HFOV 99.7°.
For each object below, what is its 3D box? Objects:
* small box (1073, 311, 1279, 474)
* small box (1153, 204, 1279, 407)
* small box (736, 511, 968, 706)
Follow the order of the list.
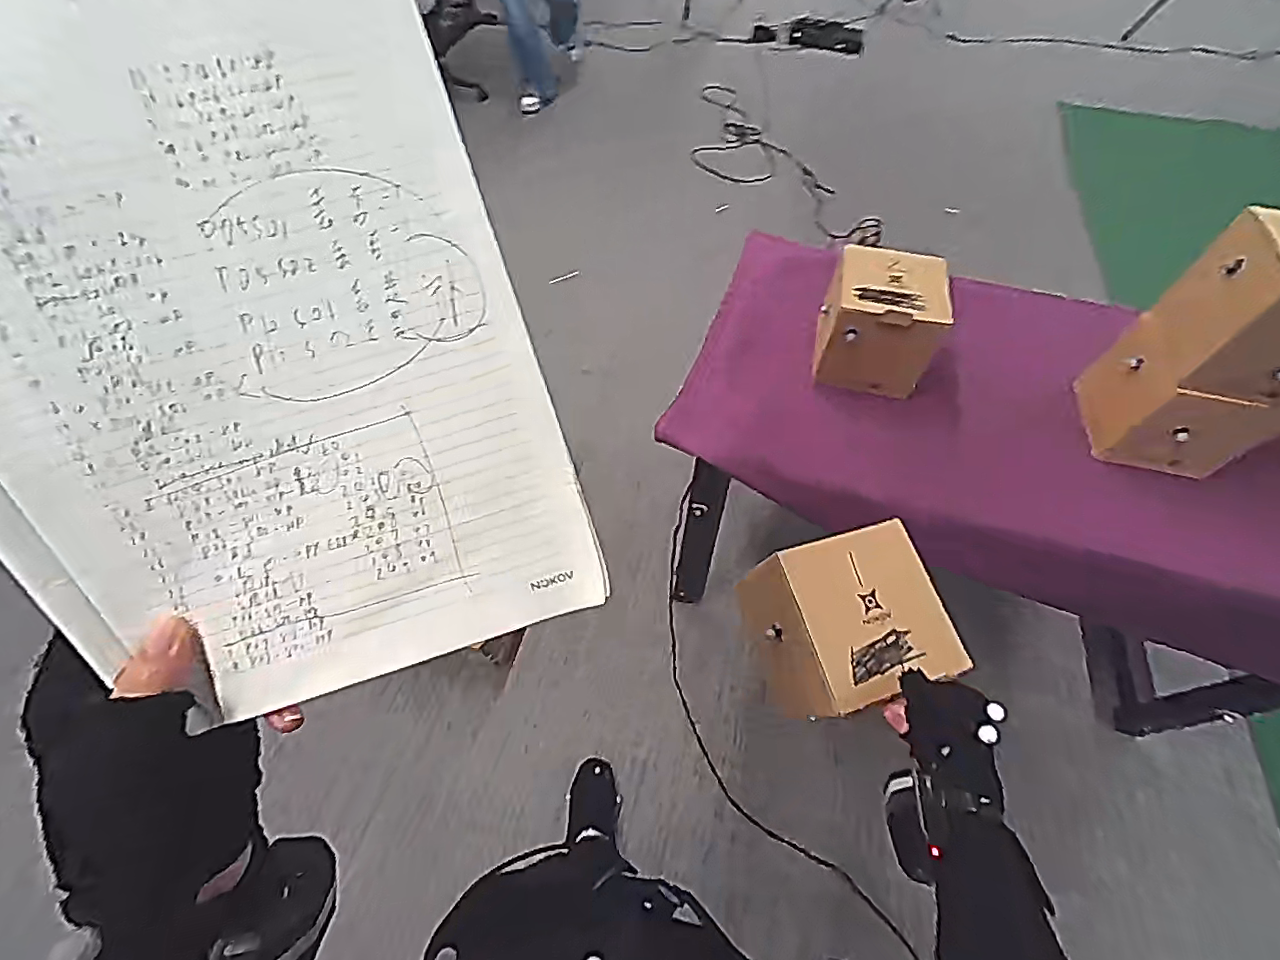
[{"bbox_3d":[0.834,-0.132,0.852,0.168,0.176,0.179,12,57,7],"label":"small box"},{"bbox_3d":[0.840,-0.227,0.716,0.168,0.176,0.179,14,58,9],"label":"small box"},{"bbox_3d":[0.238,0.160,0.655,0.168,0.176,0.179,-13,69,-14],"label":"small box"}]
